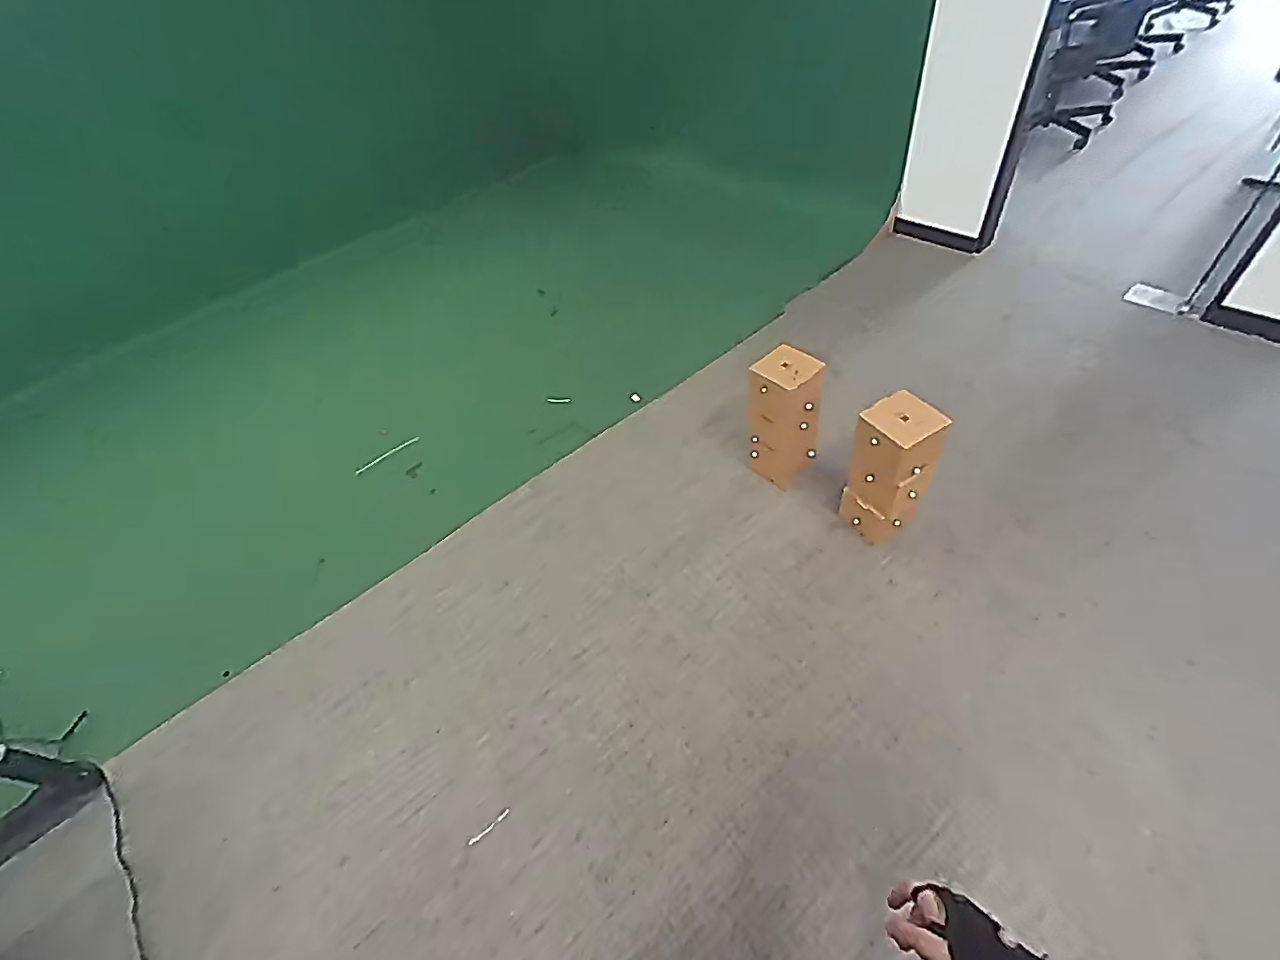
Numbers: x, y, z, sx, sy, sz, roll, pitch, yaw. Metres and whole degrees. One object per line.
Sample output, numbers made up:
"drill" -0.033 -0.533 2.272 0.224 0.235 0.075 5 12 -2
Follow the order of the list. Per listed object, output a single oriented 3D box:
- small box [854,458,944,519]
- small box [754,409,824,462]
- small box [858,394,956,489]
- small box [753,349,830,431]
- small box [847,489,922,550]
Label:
"small box" 0.787 -0.005 1.659 0.168 0.176 0.179 -30 50 -14
"small box" 0.519 -0.192 1.882 0.179 0.176 0.168 -36 52 -19
"small box" 0.747 -0.106 1.538 0.168 0.176 0.179 -28 49 -10
"small box" 0.486 -0.289 1.752 0.168 0.176 0.179 -36 52 -18
"small box" 0.804 0.099 1.784 0.179 0.176 0.168 -30 51 -11
